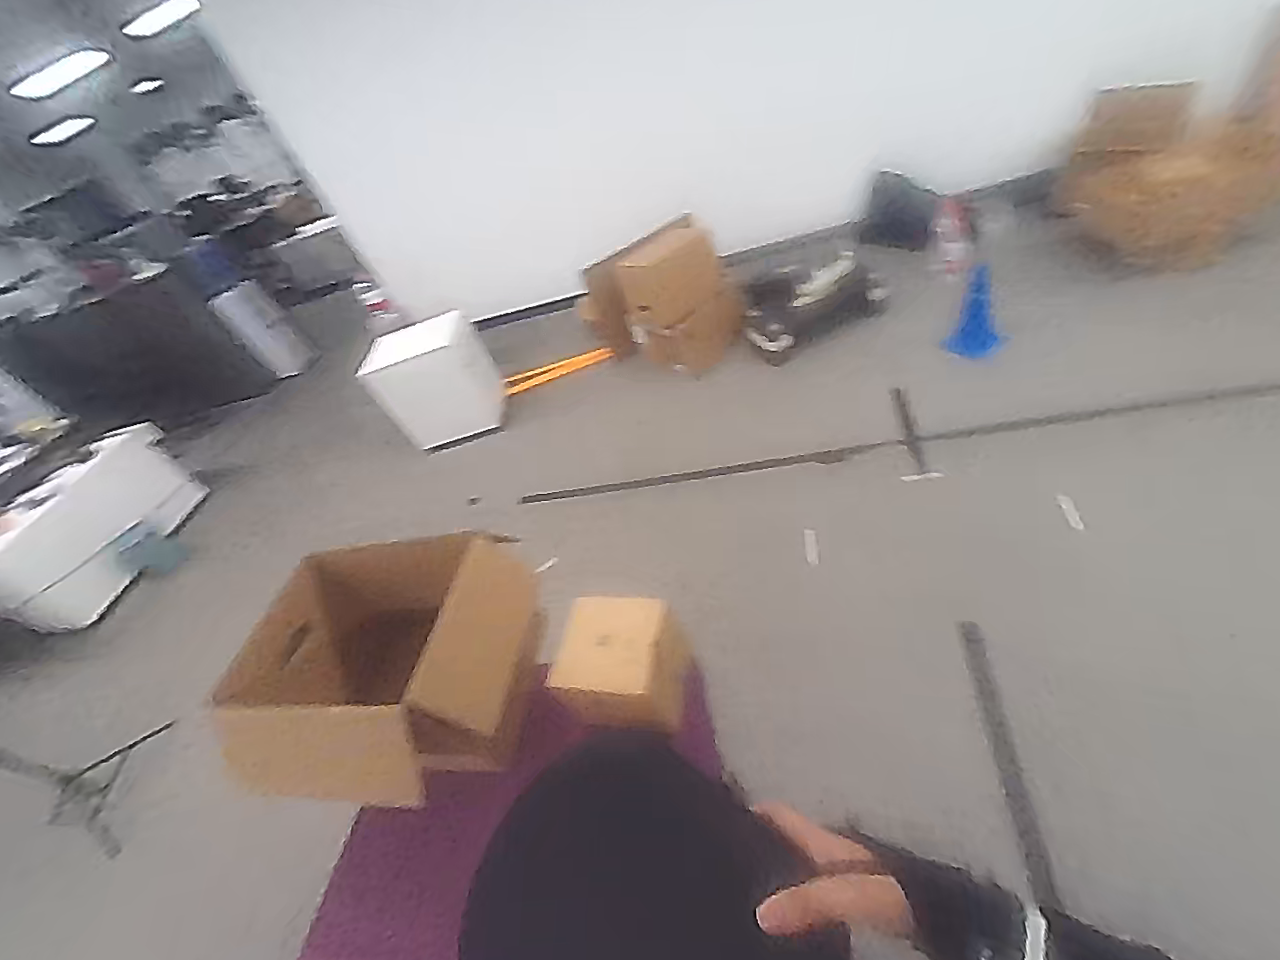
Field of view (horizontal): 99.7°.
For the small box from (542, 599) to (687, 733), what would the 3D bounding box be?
[{"bbox_3d":[-0.035,0.322,0.937,0.179,0.176,0.168,-4,47,23],"label":"small box"}]
